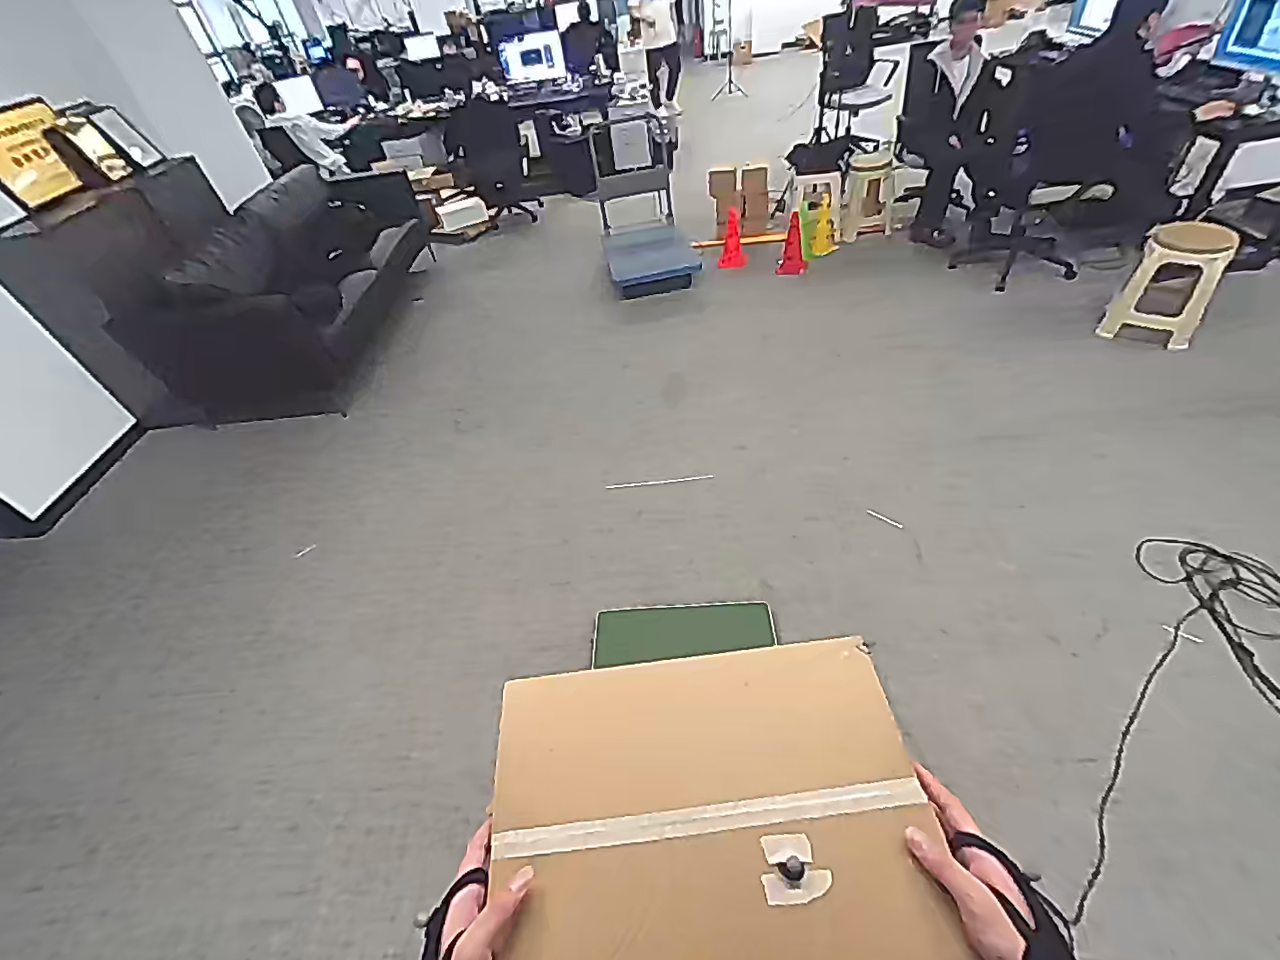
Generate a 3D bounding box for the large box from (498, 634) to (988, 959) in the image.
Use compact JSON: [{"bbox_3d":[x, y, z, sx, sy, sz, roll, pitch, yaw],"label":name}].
[{"bbox_3d":[0.077,0.416,0.625,0.408,0.320,0.320,-7,48,0],"label":"large box"}]
